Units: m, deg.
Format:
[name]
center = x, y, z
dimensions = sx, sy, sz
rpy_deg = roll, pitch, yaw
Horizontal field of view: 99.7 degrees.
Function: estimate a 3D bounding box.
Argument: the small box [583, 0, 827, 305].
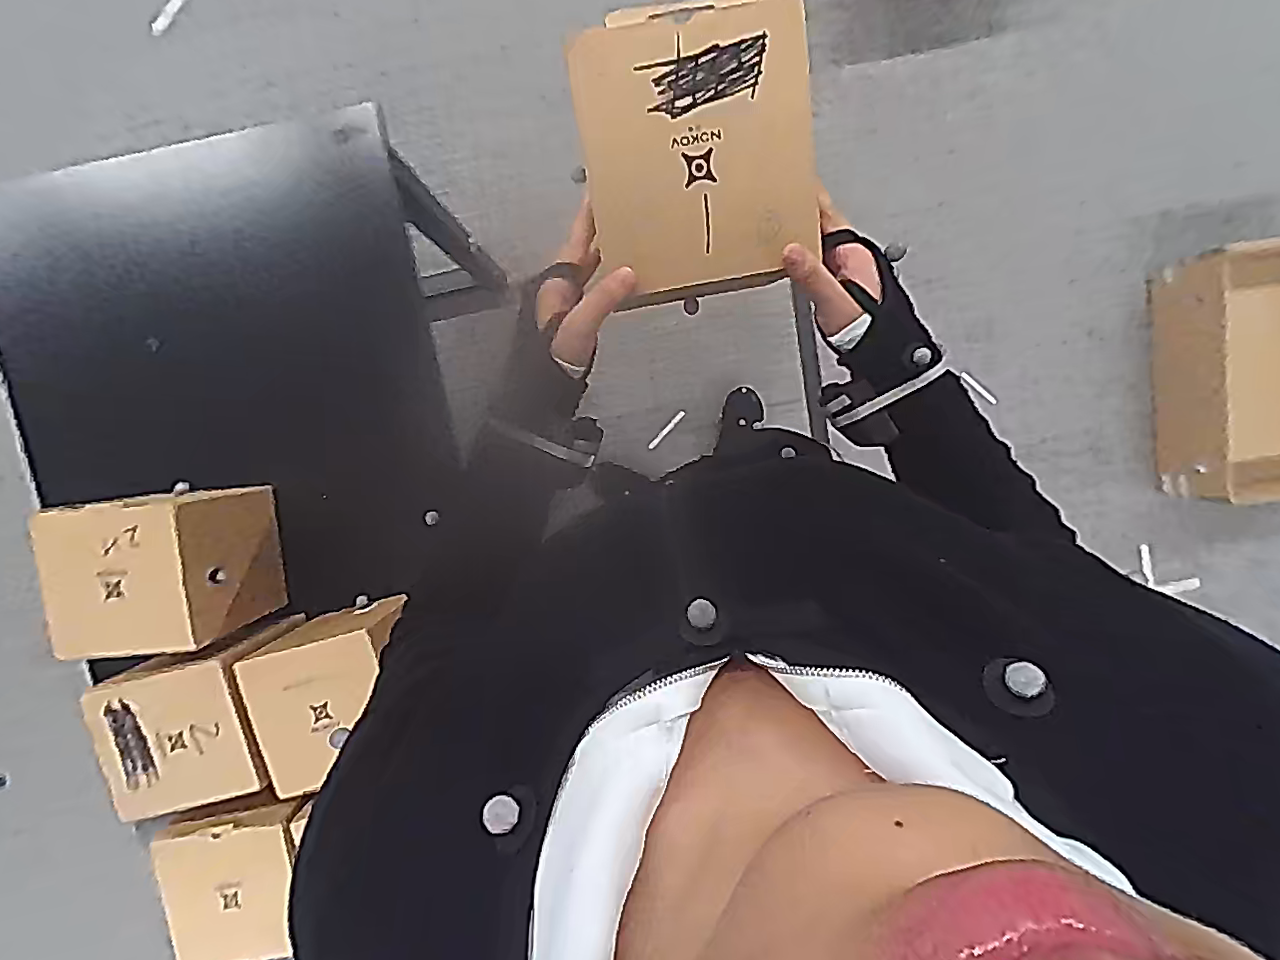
[small box]
center = 0.048, -0.258, 0.470
dimensions = 0.168, 0.176, 0.179
rpy_deg = -9, 105, 1
